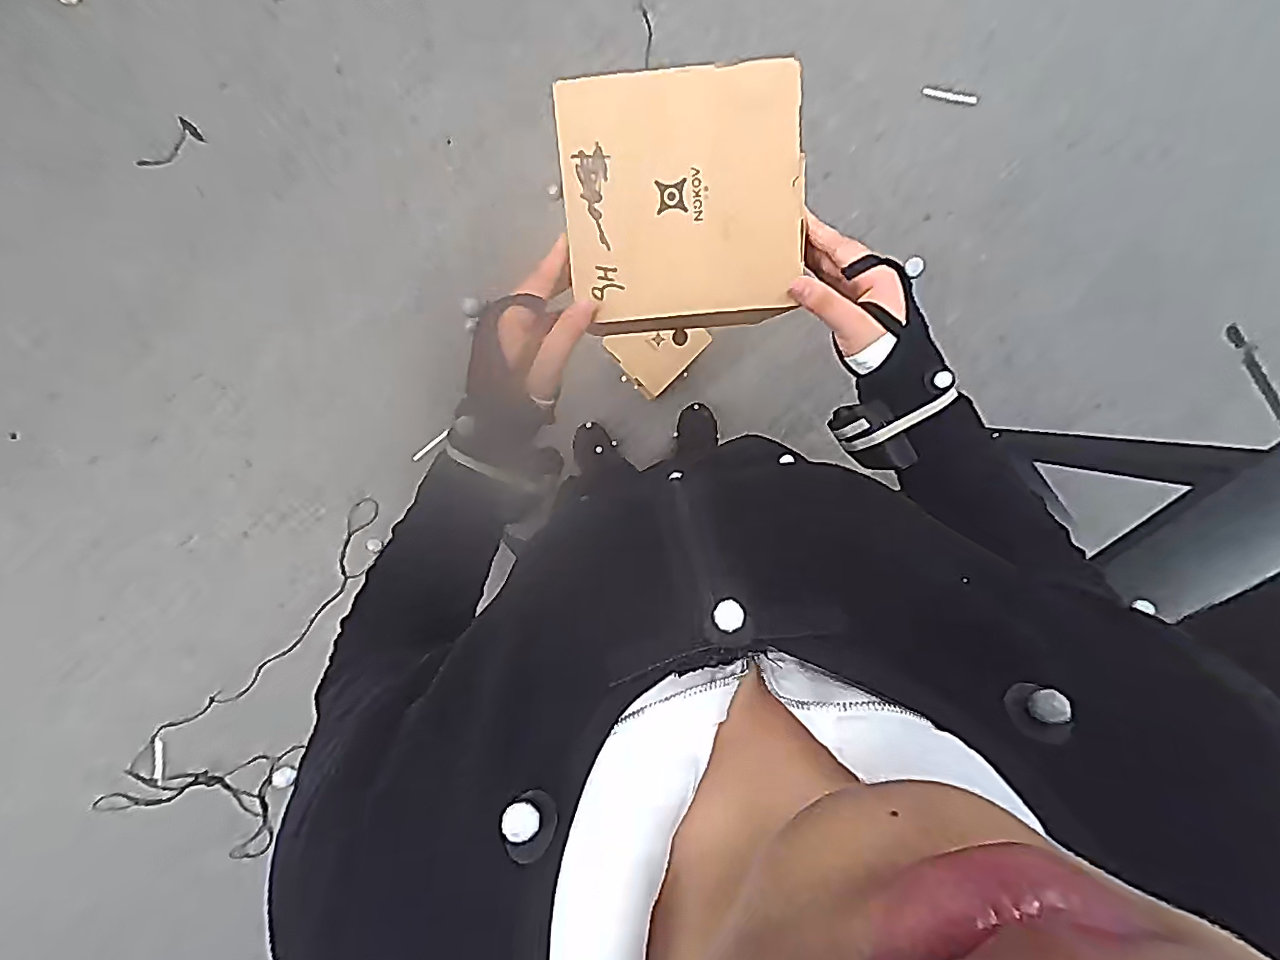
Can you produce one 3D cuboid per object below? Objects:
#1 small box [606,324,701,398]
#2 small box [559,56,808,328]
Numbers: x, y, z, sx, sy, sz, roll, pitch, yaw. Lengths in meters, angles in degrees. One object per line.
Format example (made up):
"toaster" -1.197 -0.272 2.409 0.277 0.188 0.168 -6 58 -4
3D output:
"small box" 0.032 -0.327 1.376 0.179 0.176 0.168 -42 95 7
"small box" 0.033 -0.228 0.473 0.179 0.176 0.168 -5 102 1
